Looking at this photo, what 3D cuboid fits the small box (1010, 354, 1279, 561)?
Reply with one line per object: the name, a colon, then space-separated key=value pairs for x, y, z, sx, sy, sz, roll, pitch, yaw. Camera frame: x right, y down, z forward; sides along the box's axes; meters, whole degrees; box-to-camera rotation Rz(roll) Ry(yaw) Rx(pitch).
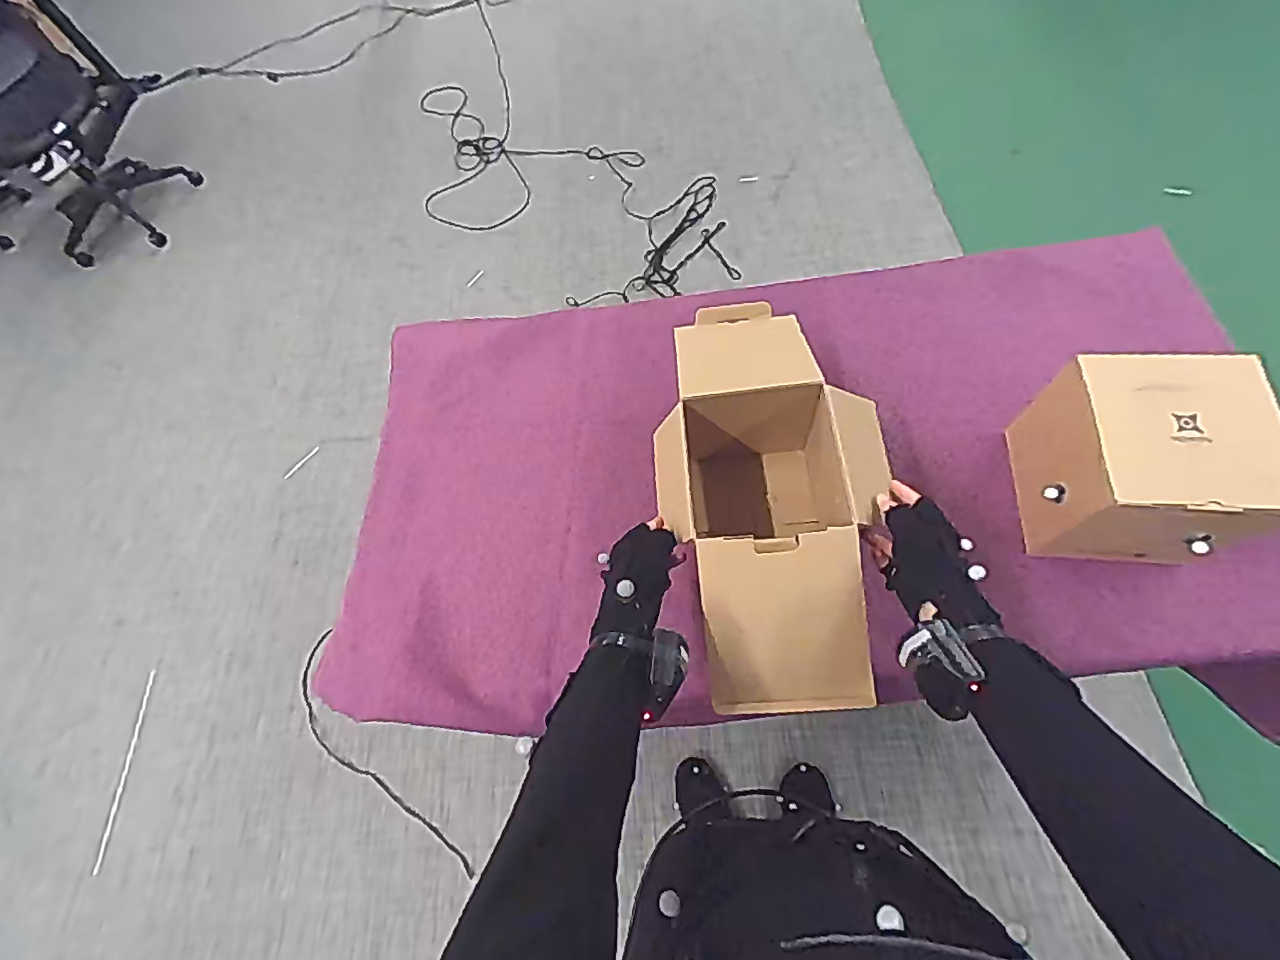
small box: x=0.545 y=-0.018 z=0.598 sx=0.168 sy=0.176 sz=0.179 roll=3 pitch=65 yaw=10
